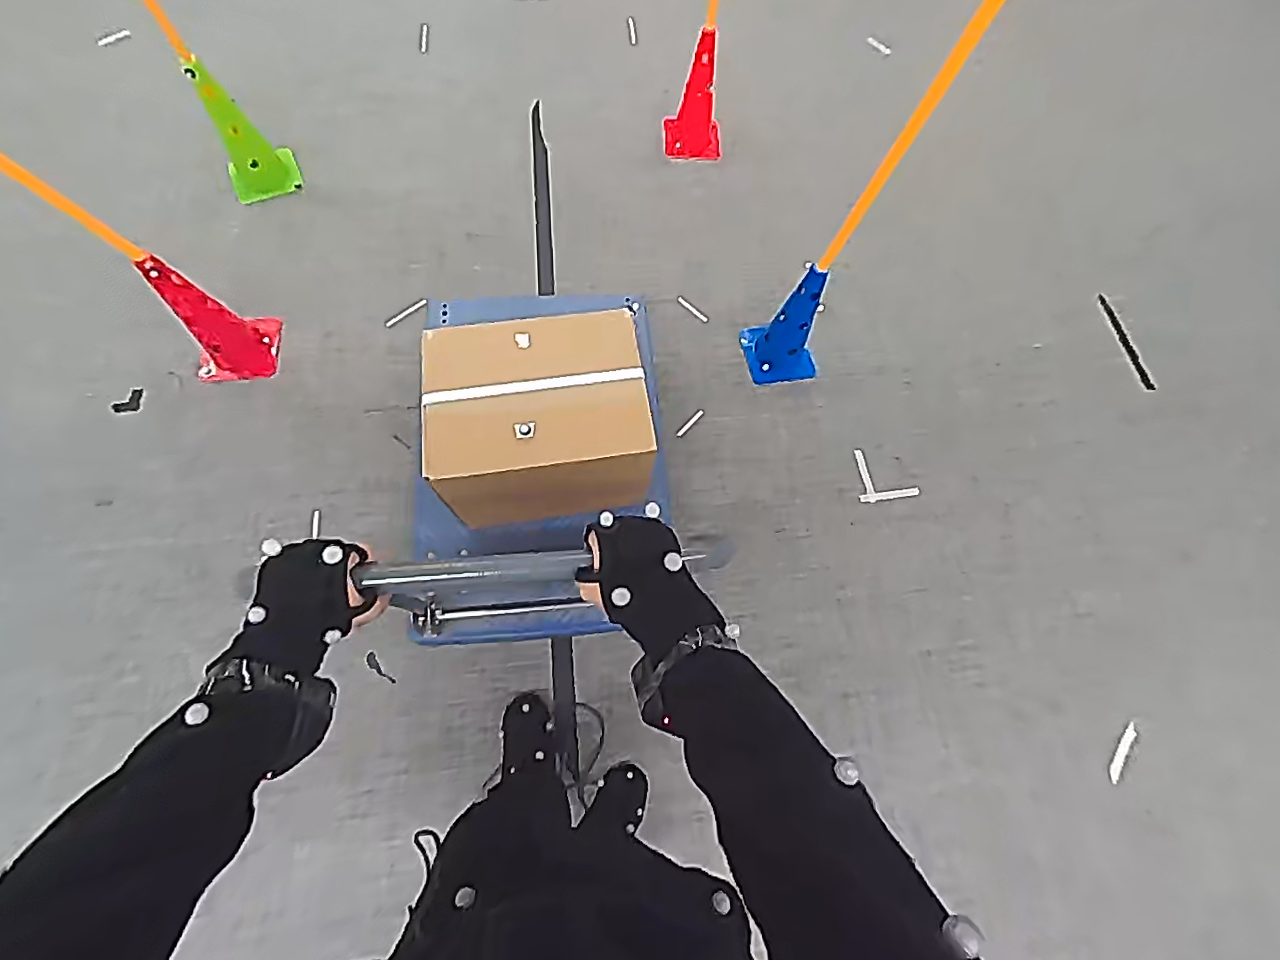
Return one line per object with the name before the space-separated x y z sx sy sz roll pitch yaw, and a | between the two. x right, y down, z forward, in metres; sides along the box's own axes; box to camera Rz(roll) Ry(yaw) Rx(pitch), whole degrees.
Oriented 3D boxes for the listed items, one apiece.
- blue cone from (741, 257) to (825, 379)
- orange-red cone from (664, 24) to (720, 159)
blue cone | 0.425 -0.451 1.484 0.193 0.380 0.192 -8 69 -7
orange-red cone | 0.199 -1.285 1.772 0.199 0.360 0.198 2 70 -4
